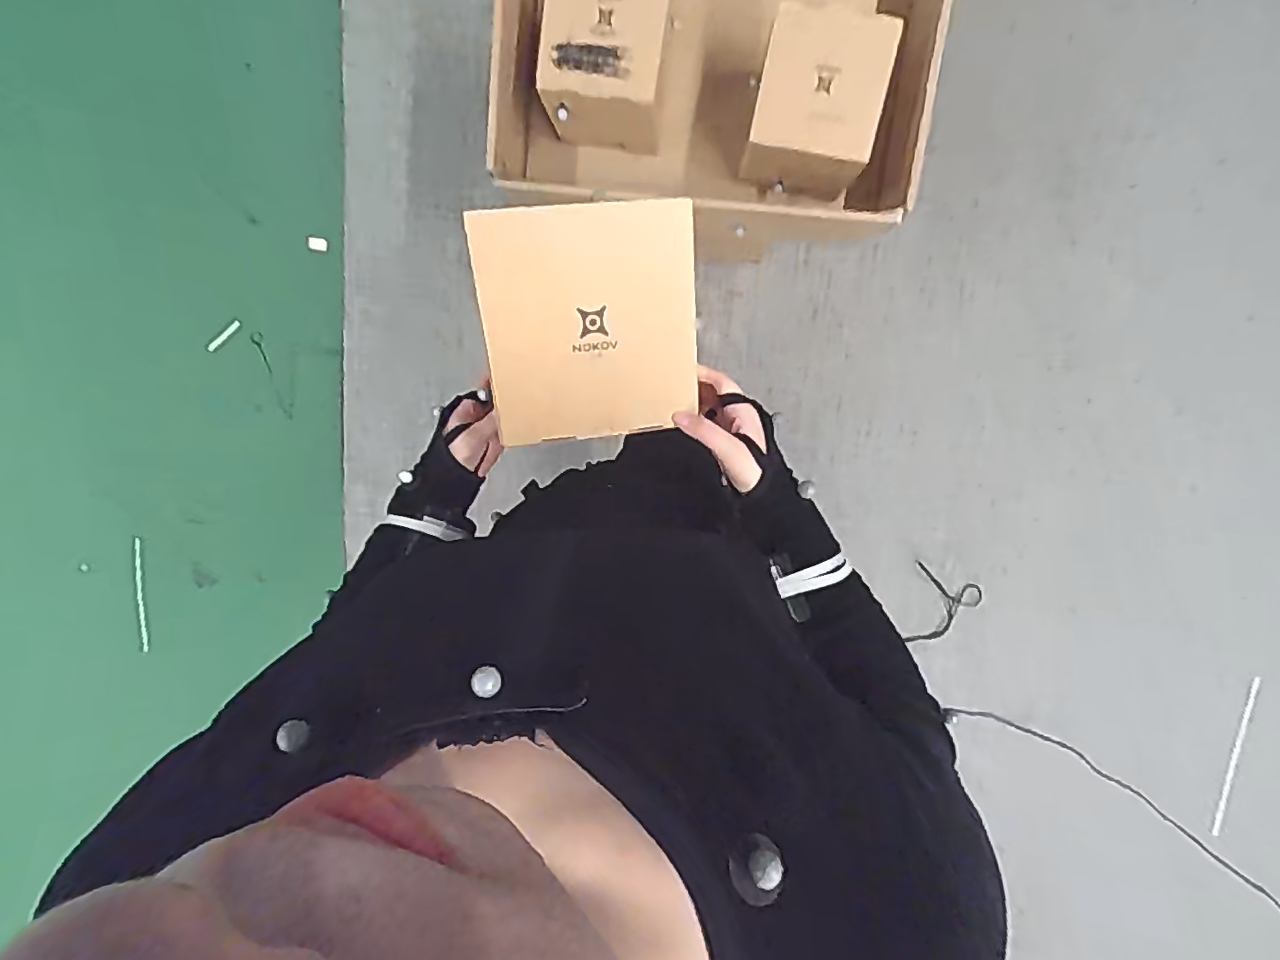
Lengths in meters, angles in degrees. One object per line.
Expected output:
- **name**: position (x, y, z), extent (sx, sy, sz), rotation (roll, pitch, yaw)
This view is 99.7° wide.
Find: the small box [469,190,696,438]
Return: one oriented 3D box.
- **small box**: position (-0.051, -0.151, 0.490), extent (0.168, 0.176, 0.179), rotation (-7, 113, -8)
